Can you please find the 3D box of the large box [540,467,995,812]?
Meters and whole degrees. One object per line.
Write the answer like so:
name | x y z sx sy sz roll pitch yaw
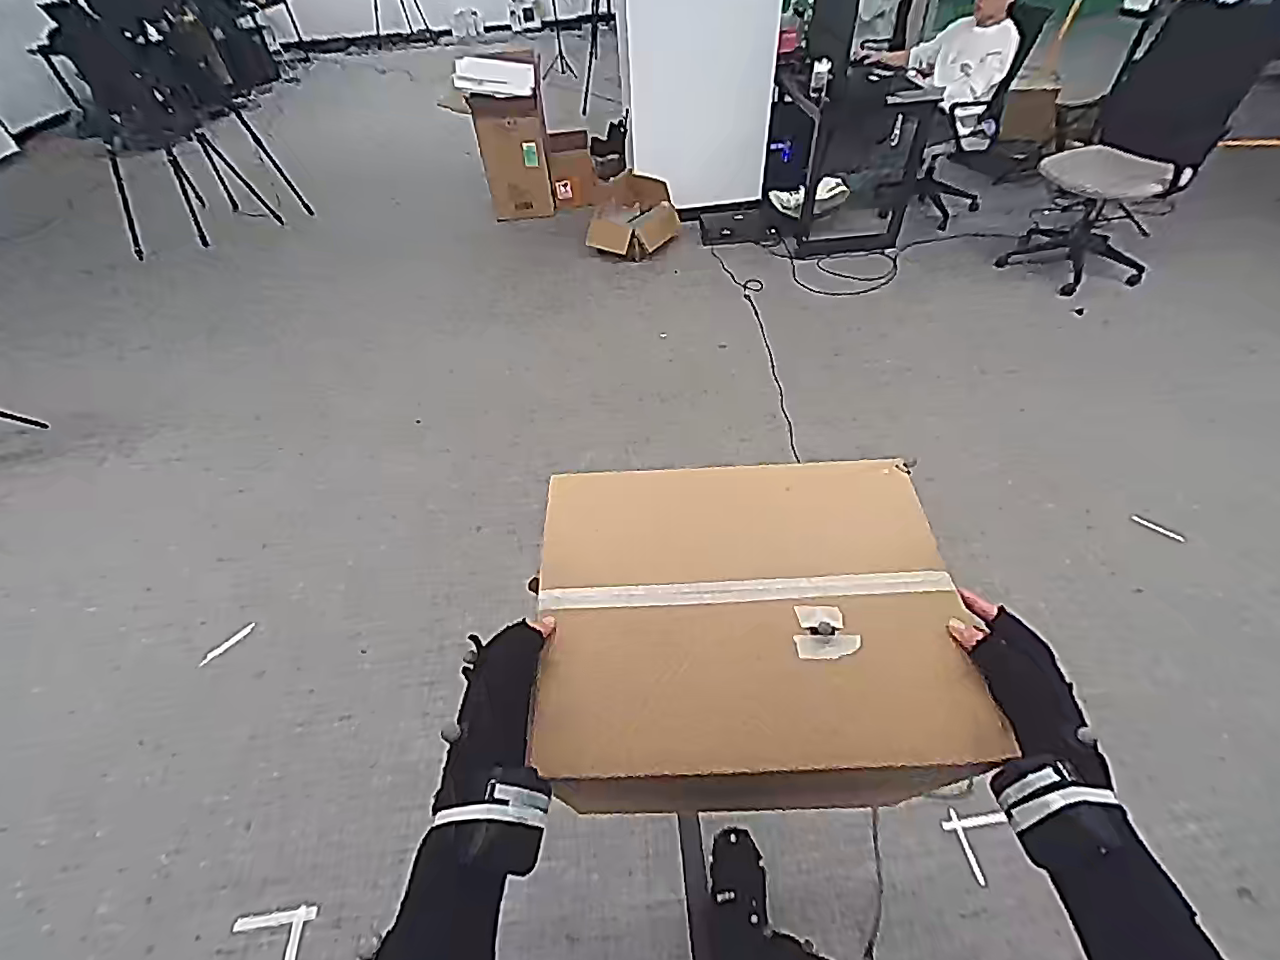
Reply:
large box | 0.107 0.207 0.671 0.408 0.320 0.320 -3 54 1
